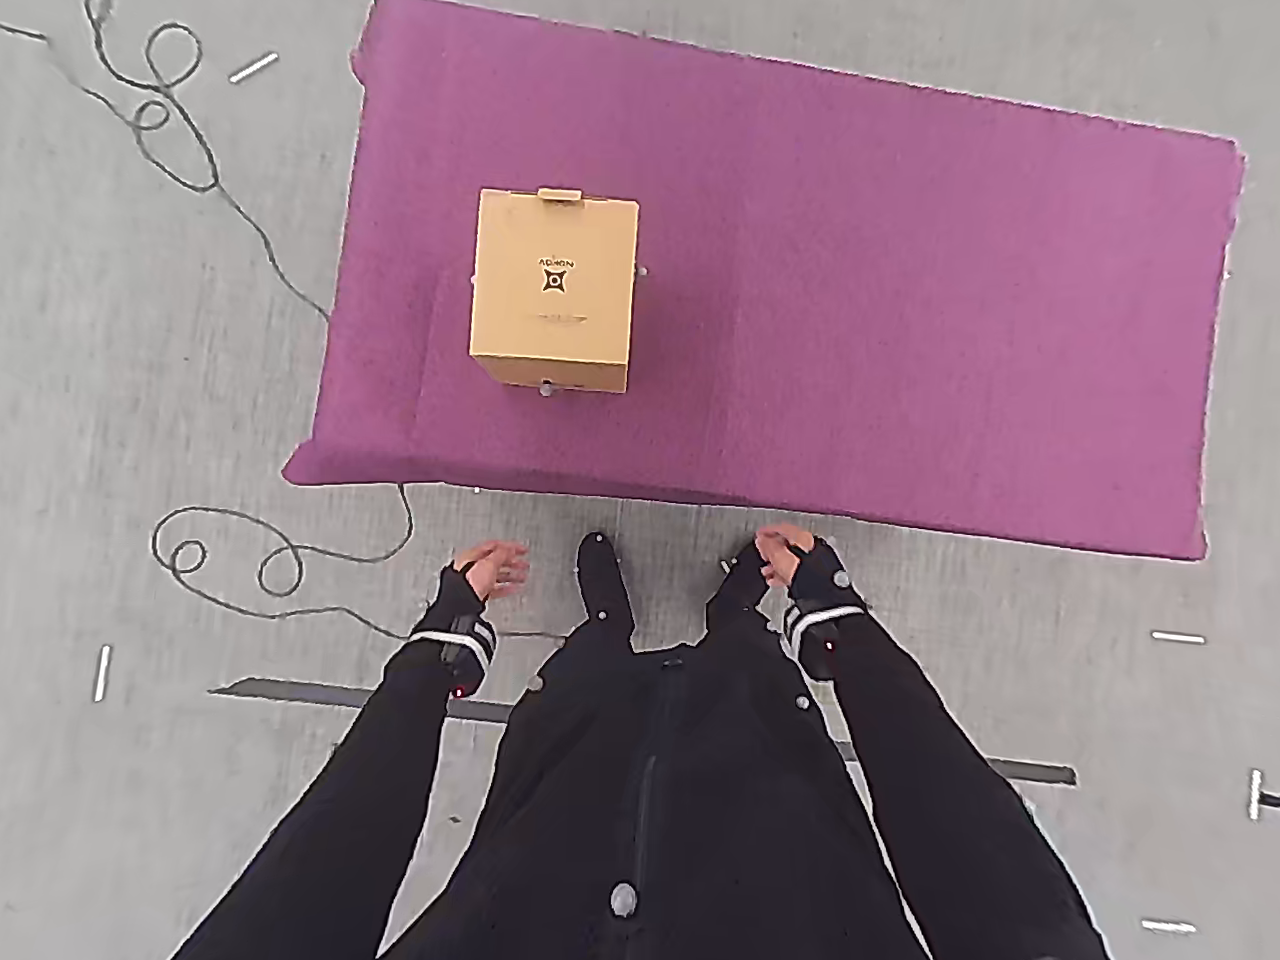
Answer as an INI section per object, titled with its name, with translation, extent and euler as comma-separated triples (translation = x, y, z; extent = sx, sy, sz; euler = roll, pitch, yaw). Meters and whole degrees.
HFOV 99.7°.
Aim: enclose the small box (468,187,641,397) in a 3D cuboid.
[small box]
translation = -0.091, -0.205, 0.633
extent = 0.168, 0.176, 0.179
euler = 5, 88, -2
